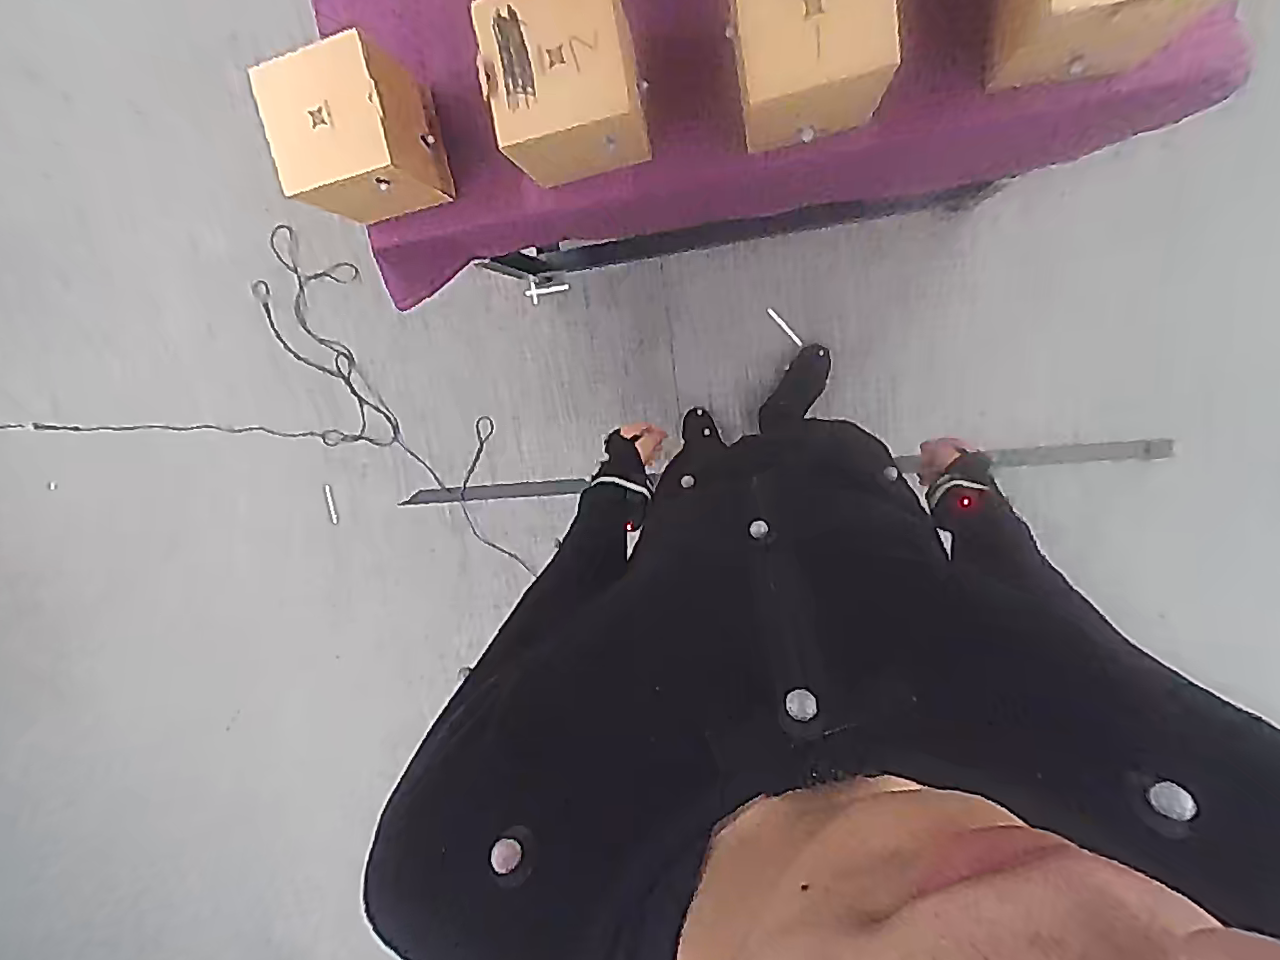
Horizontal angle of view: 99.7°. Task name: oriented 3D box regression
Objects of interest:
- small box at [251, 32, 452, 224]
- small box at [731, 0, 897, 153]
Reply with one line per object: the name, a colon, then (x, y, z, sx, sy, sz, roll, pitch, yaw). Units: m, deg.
small box: (-0.410, -0.497, 0.797, 0.179, 0.176, 0.168, -9, 101, 11)
small box: (0.203, -0.542, 0.667, 0.168, 0.176, 0.179, -8, 102, 13)
